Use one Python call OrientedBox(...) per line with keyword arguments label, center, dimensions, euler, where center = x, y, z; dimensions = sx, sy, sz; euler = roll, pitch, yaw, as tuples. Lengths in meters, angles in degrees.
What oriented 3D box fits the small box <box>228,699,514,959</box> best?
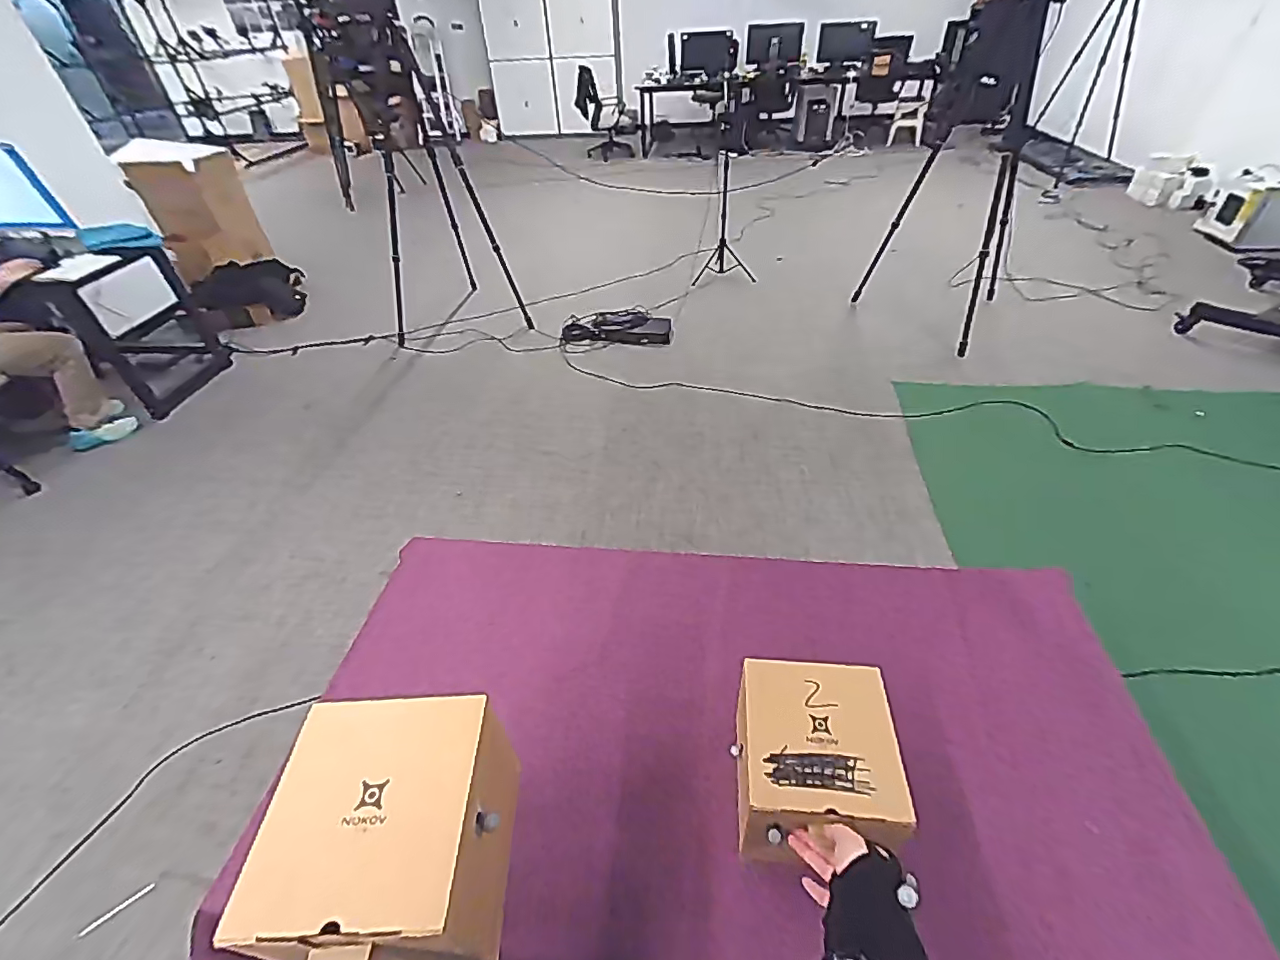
OrientedBox(label="small box", center=(-0.222, 0.331, 0.509), dimensions=(0.168, 0.176, 0.179), euler=(-3, 43, 0))
